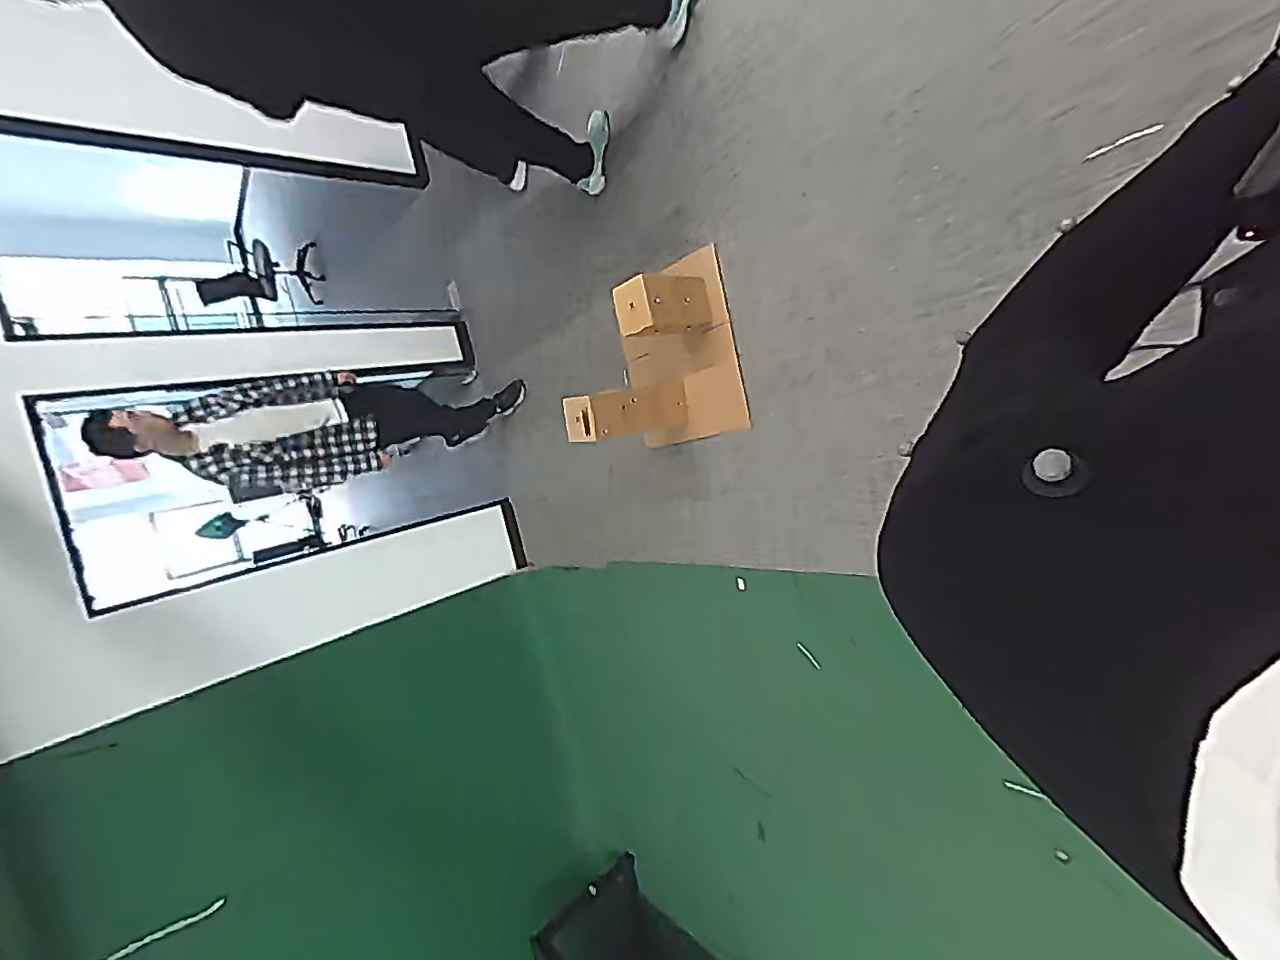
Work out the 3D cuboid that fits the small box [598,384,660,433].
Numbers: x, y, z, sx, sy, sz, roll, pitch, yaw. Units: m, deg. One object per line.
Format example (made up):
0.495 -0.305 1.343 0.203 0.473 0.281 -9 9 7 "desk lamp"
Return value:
-0.041 -0.283 2.121 0.168 0.176 0.179 4 106 49 "small box"
